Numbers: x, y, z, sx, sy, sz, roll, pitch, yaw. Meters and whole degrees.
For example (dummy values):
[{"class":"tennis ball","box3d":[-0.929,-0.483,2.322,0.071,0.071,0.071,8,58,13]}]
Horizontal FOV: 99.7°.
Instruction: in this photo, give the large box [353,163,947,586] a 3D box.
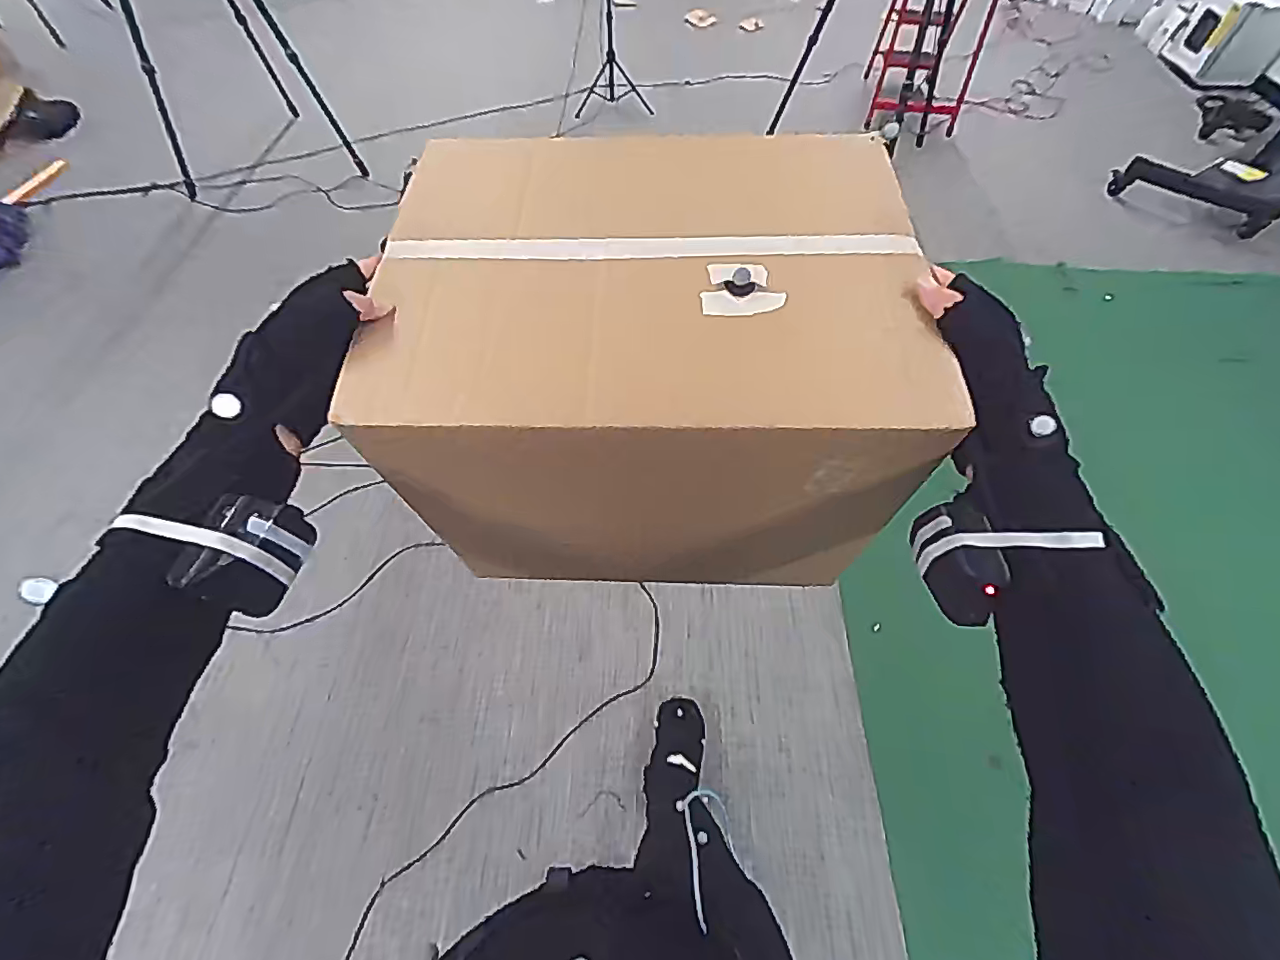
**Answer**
[{"class":"large box","box3d":[0.007,-0.087,0.558,0.408,0.320,0.320,0,61,2]}]
